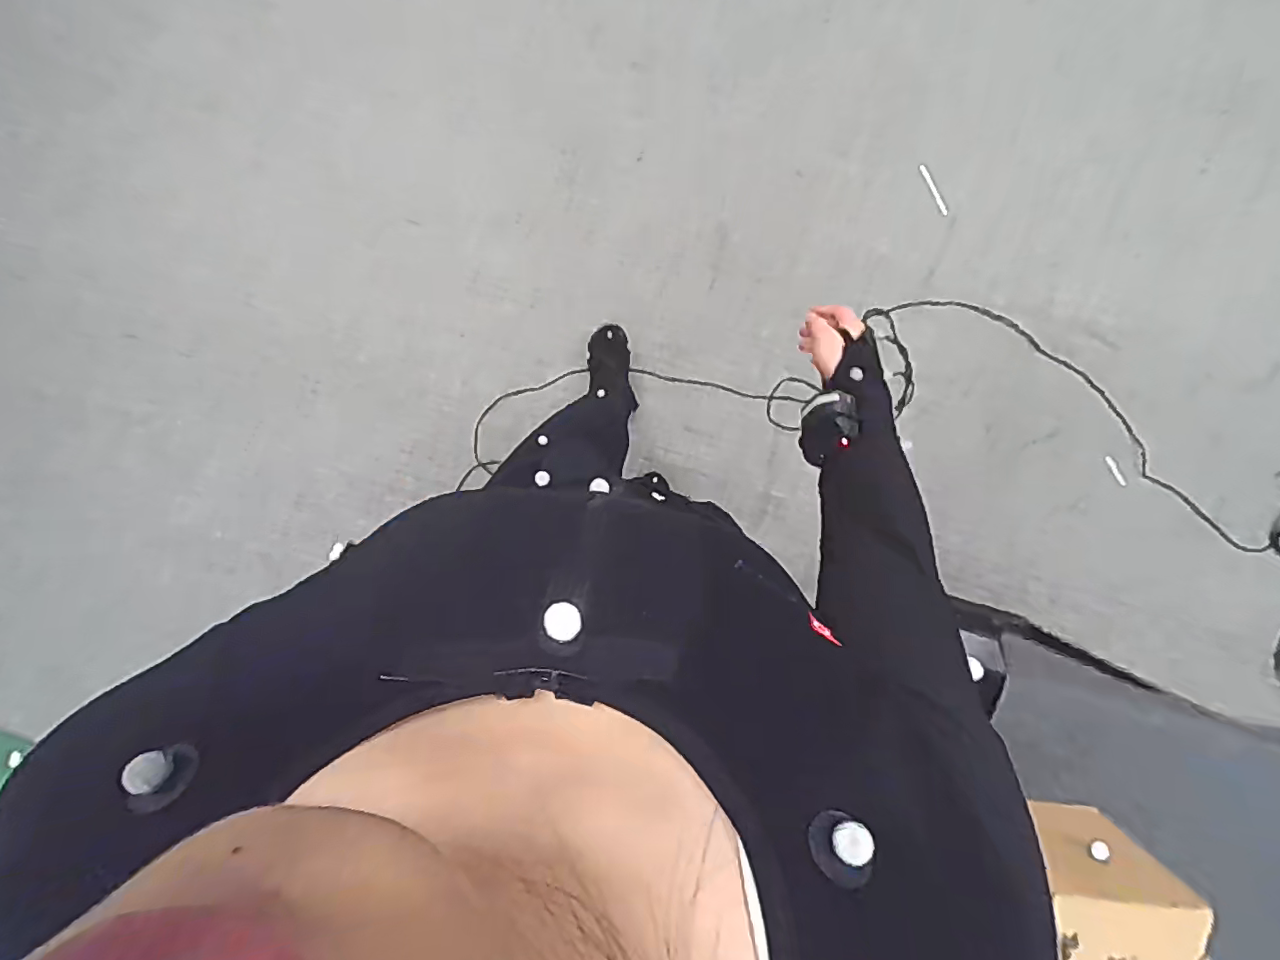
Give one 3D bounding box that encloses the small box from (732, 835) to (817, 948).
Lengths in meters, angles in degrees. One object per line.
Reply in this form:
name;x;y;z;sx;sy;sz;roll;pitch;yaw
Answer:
small box;0.359;1.120;1.485;0.179;0.176;0.168;12;96;1
